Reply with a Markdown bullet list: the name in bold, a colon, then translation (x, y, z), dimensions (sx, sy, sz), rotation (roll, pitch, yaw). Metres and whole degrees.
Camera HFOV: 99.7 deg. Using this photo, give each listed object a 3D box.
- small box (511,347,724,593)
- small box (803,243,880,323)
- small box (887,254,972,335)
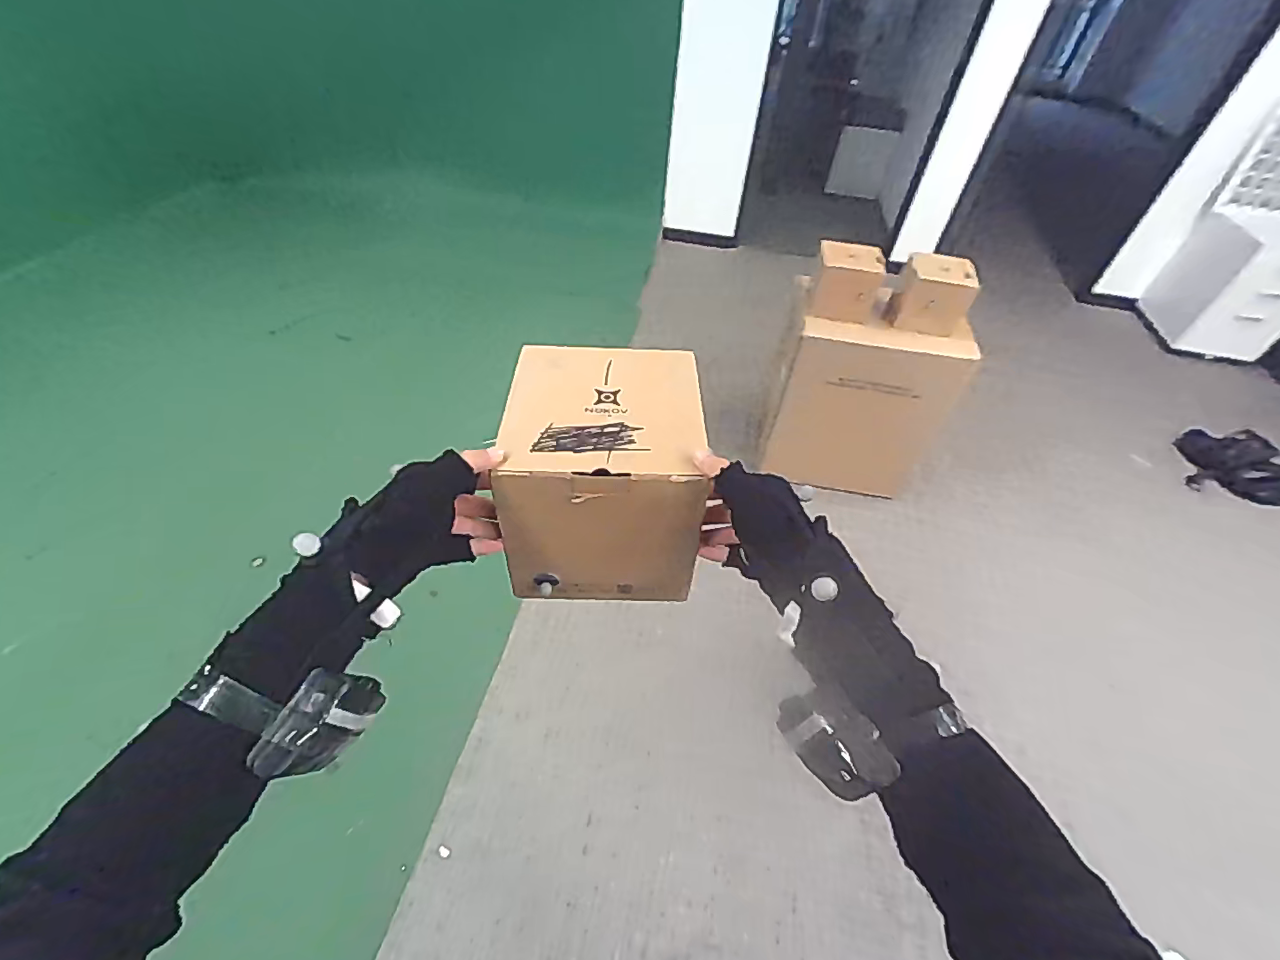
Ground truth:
- **small box**: translation (-0.018, -0.008, 0.519), dimensions (0.168, 0.176, 0.179), rotation (2, 44, -2)
- **small box**: translation (0.618, -0.609, 1.677), dimensions (0.179, 0.176, 0.168), rotation (8, 49, 4)
- **small box**: translation (0.876, -0.566, 1.660), dimensions (0.179, 0.176, 0.168), rotation (11, 51, 5)
